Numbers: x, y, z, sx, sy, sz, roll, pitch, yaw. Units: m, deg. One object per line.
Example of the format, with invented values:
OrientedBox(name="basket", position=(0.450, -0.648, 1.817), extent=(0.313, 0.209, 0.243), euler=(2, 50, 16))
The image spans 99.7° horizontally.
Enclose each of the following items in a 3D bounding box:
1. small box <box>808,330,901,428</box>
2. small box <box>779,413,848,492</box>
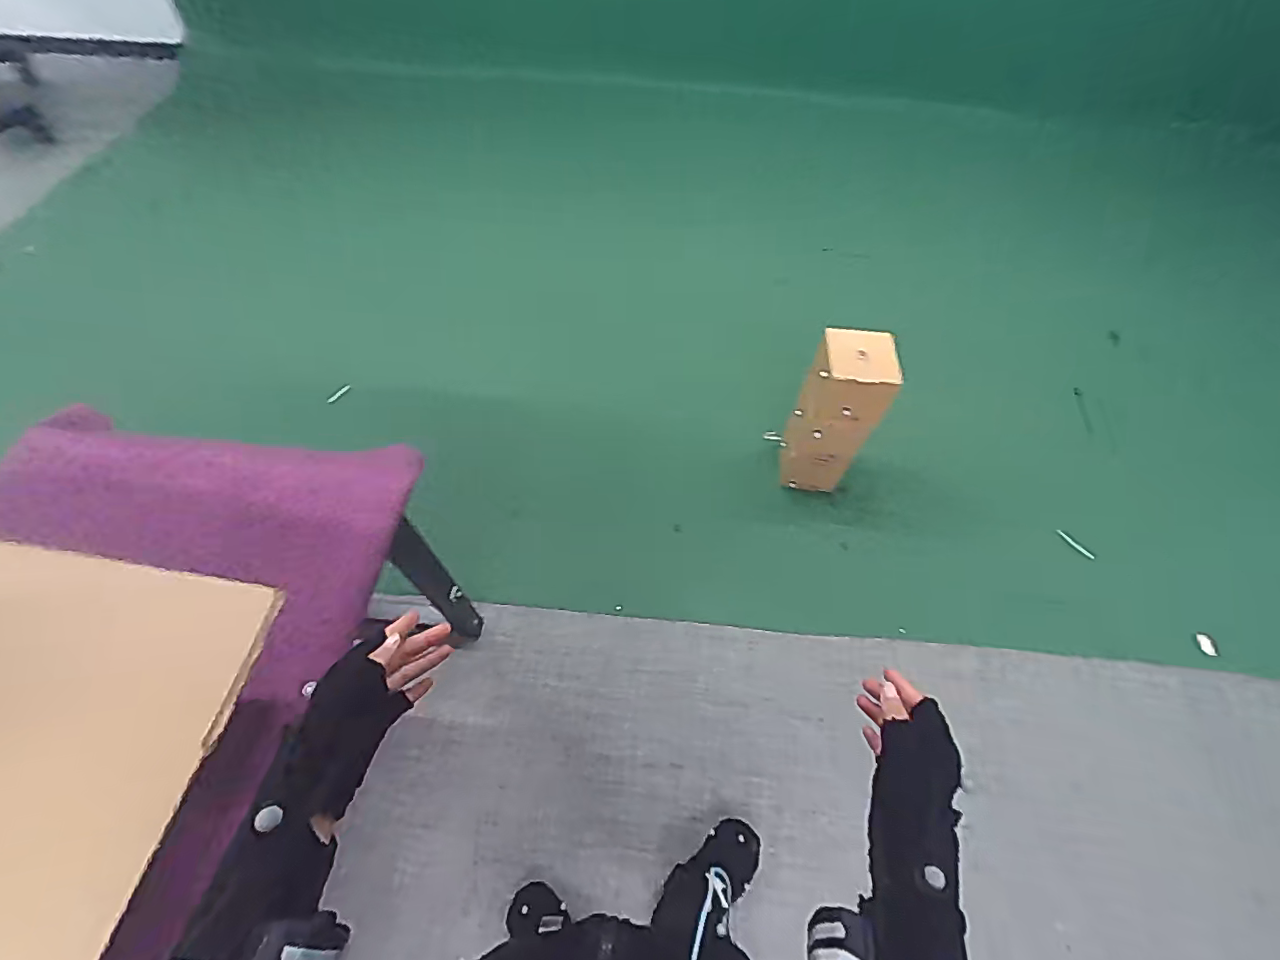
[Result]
OrientedBox(name="small box", position=(0.542, -0.258, 1.394), extent=(0.168, 0.176, 0.179), euler=(5, 57, 1))
OrientedBox(name="small box", position=(0.531, -0.082, 1.670), extent=(0.168, 0.176, 0.179), euler=(7, 57, 3))
